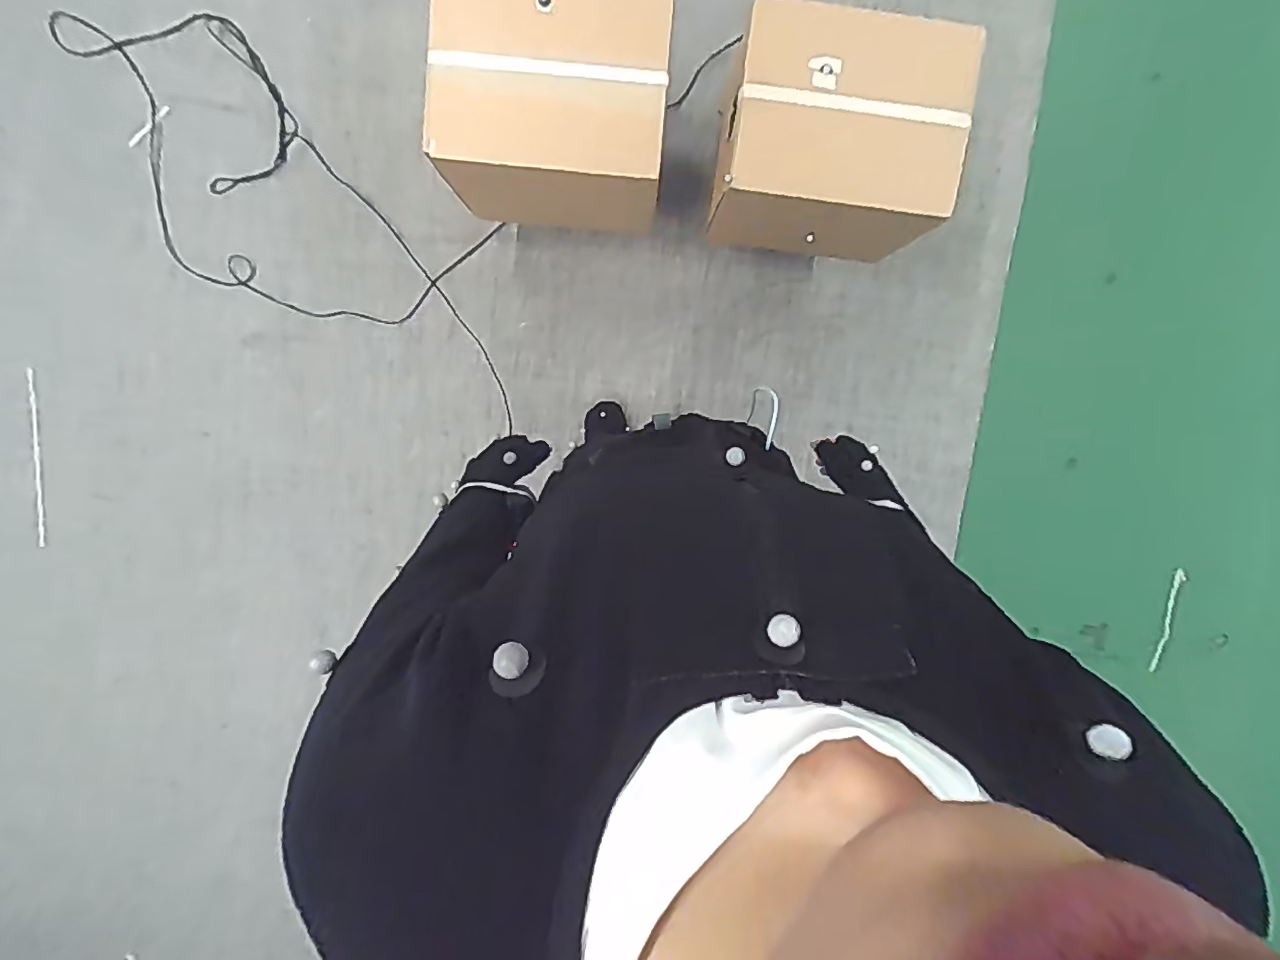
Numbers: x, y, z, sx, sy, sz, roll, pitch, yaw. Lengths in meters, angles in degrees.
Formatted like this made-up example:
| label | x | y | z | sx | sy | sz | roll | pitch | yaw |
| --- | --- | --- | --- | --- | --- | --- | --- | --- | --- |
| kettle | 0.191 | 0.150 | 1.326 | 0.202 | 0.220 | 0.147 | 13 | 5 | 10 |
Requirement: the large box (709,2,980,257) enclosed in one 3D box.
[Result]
| label | x | y | z | sx | sy | sz | roll | pitch | yaw |
| --- | --- | --- | --- | --- | --- | --- | --- | --- | --- |
| large box | 0.375 | -0.669 | 1.096 | 0.408 | 0.320 | 0.320 | 7 | 97 | -1 |
